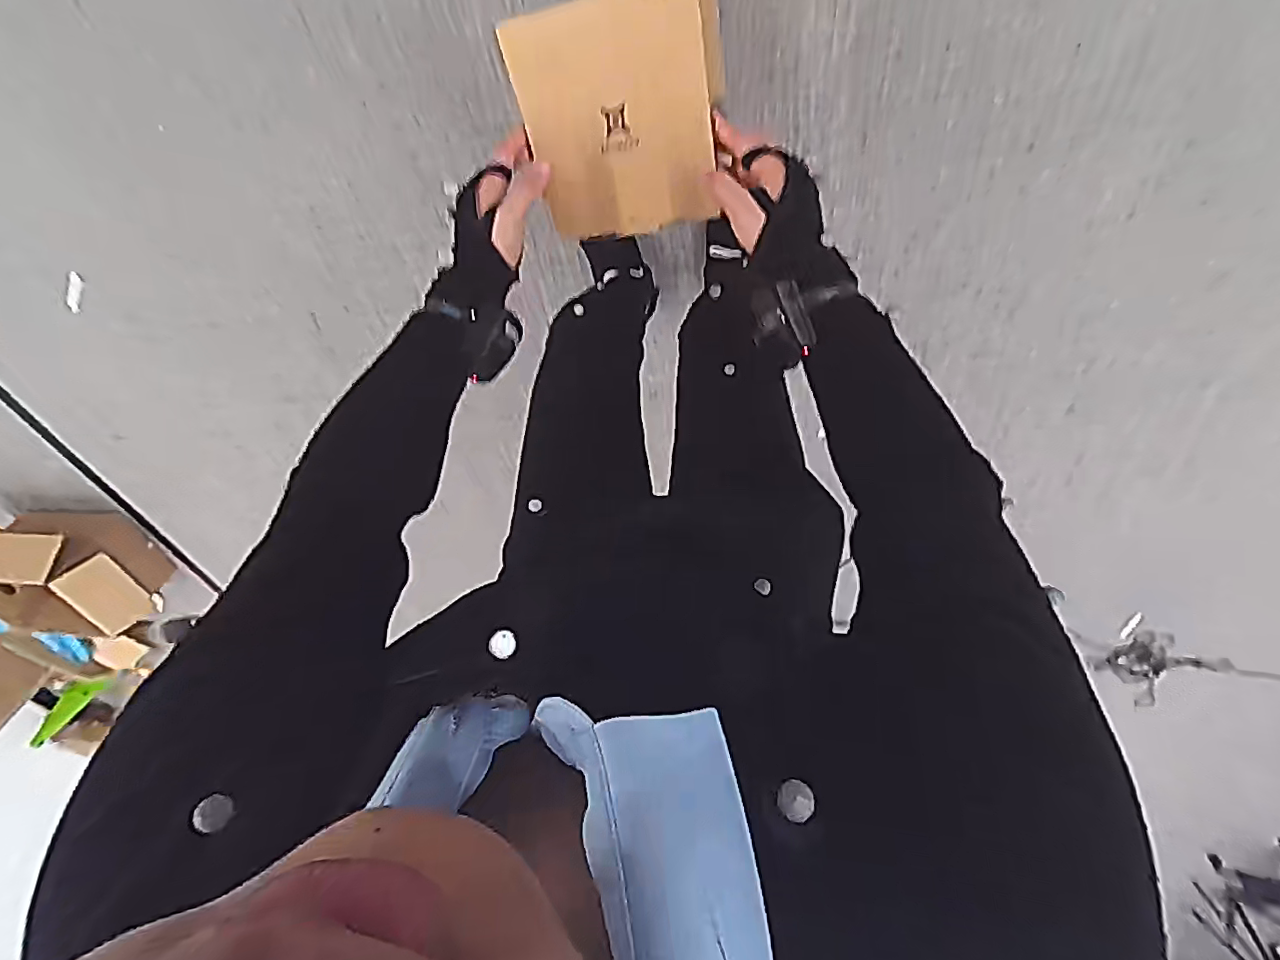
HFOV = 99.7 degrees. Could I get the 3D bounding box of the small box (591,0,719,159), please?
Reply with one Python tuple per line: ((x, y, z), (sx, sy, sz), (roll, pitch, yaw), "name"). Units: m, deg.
((0.035, -0.634, 0.849), (0.168, 0.176, 0.179), (-5, 131, 11), "small box")
